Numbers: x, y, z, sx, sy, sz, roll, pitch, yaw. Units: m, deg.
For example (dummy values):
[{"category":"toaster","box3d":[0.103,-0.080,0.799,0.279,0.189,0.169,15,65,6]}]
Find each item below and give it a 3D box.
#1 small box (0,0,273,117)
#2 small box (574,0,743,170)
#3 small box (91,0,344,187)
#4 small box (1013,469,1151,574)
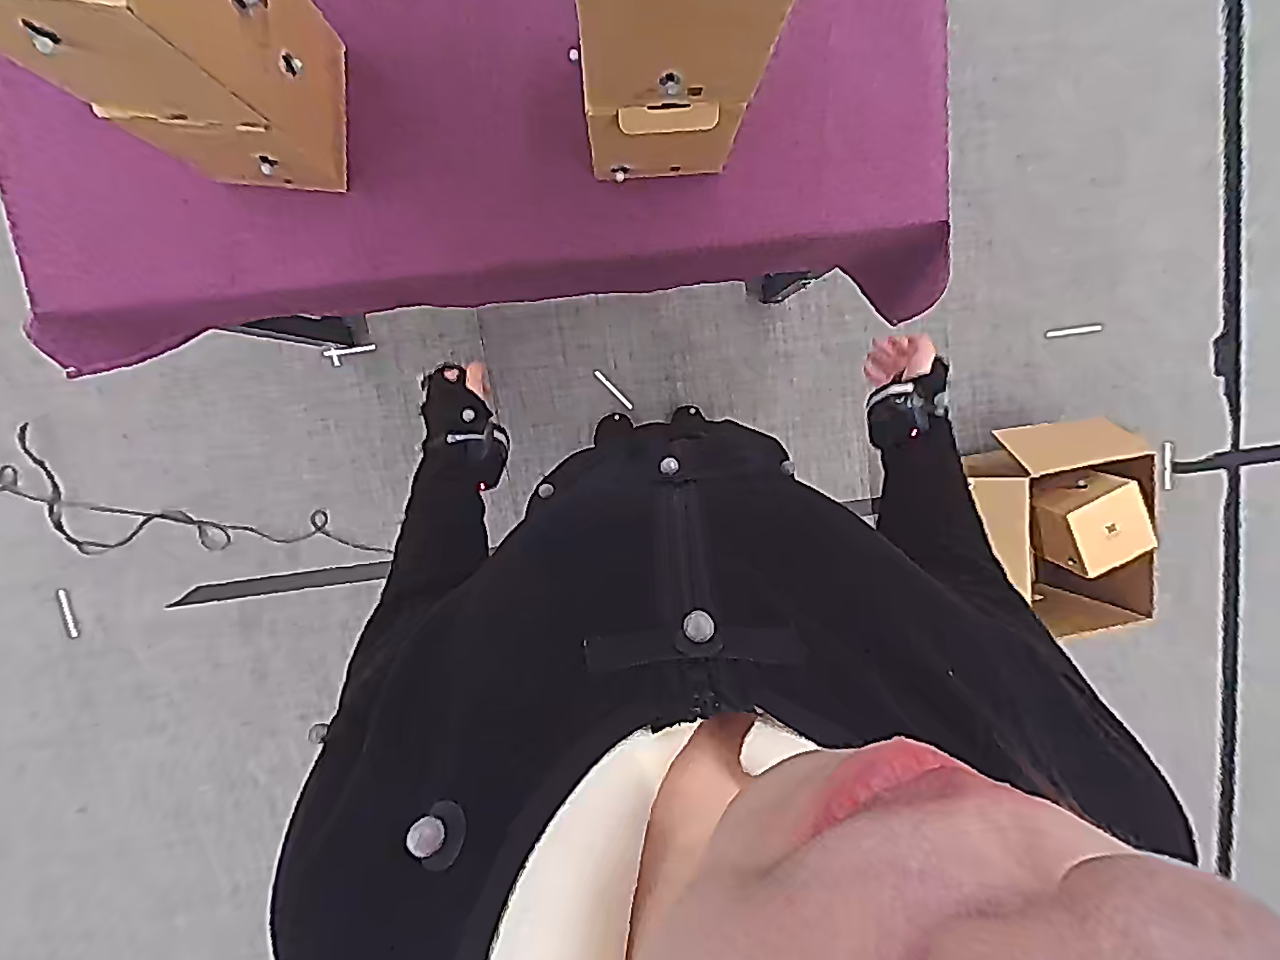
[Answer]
[{"category":"small box","box3d":[-0.435,-0.425,0.433,0.179,0.176,0.168,5,99,-4]},{"category":"small box","box3d":[0.017,-0.470,0.608,0.168,0.176,0.179,-4,98,-2]},{"category":"small box","box3d":[-0.447,-0.447,0.595,0.168,0.176,0.179,4,98,-4]},{"category":"small box","box3d":[1.039,0.088,1.285,0.168,0.176,0.179,-29,103,4]}]
